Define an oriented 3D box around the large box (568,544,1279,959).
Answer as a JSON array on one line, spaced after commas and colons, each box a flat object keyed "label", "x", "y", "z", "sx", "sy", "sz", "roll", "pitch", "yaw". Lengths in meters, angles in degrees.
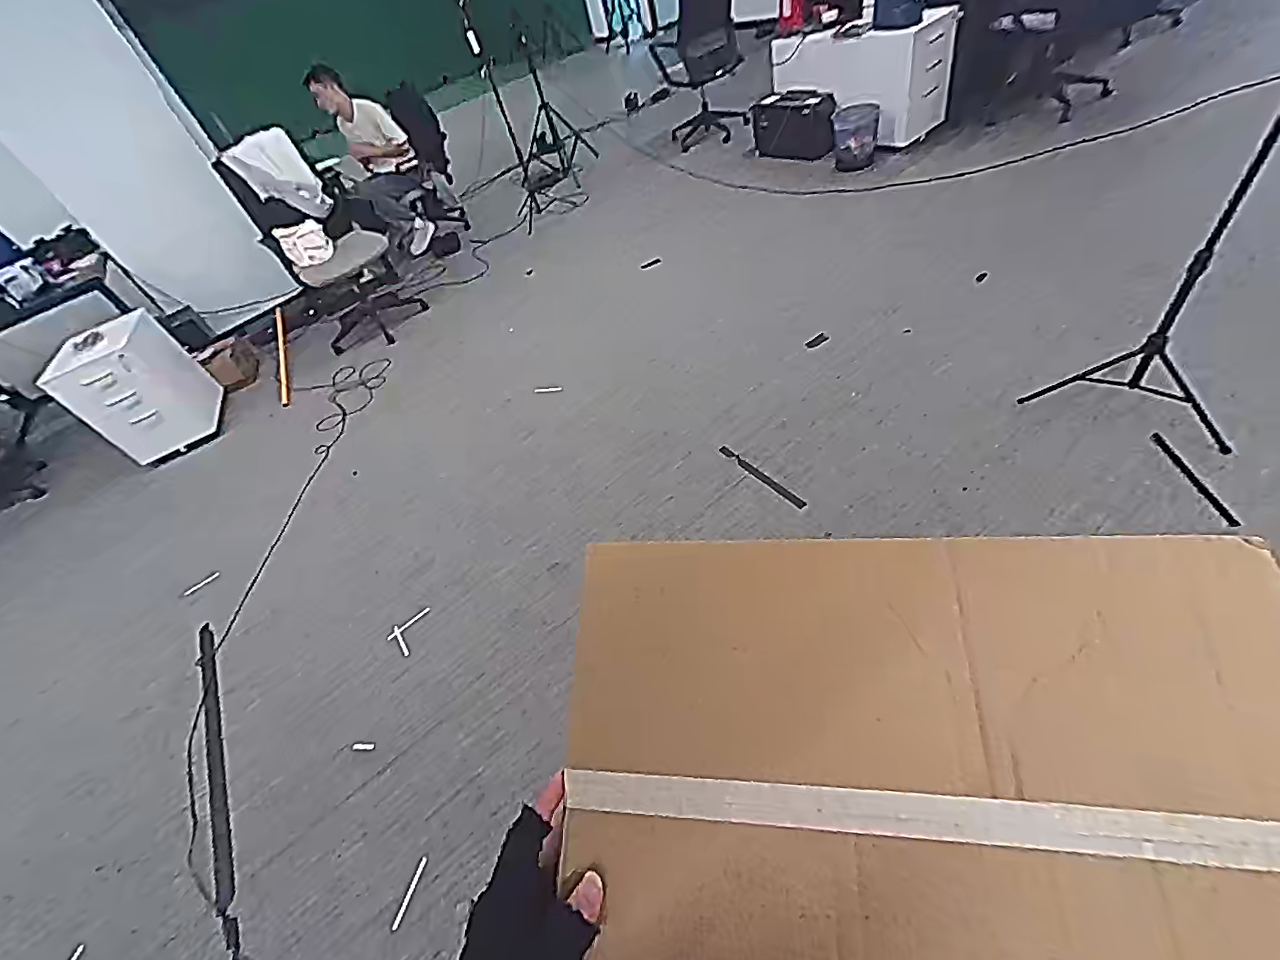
[{"label": "large box", "x": 0.185, "y": 0.248, "z": 0.432, "sx": 0.408, "sy": 0.320, "sz": 0.320, "roll": -2, "pitch": 66, "yaw": 12}]
